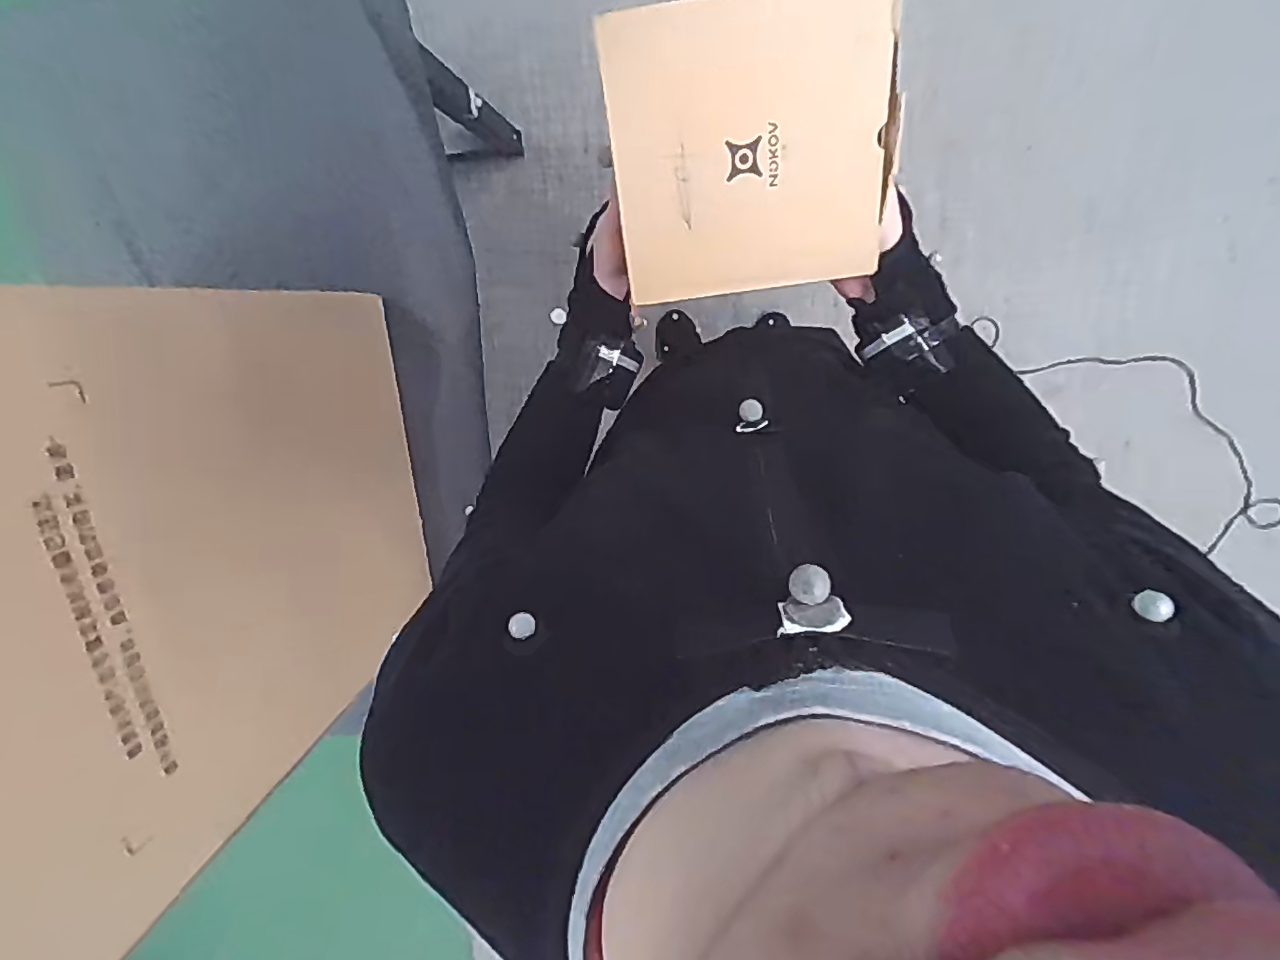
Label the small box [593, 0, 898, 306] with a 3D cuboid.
[{"bbox_3d":[0.069,-0.246,0.412,0.179,0.176,0.168,-6,121,6],"label":"small box"}]
